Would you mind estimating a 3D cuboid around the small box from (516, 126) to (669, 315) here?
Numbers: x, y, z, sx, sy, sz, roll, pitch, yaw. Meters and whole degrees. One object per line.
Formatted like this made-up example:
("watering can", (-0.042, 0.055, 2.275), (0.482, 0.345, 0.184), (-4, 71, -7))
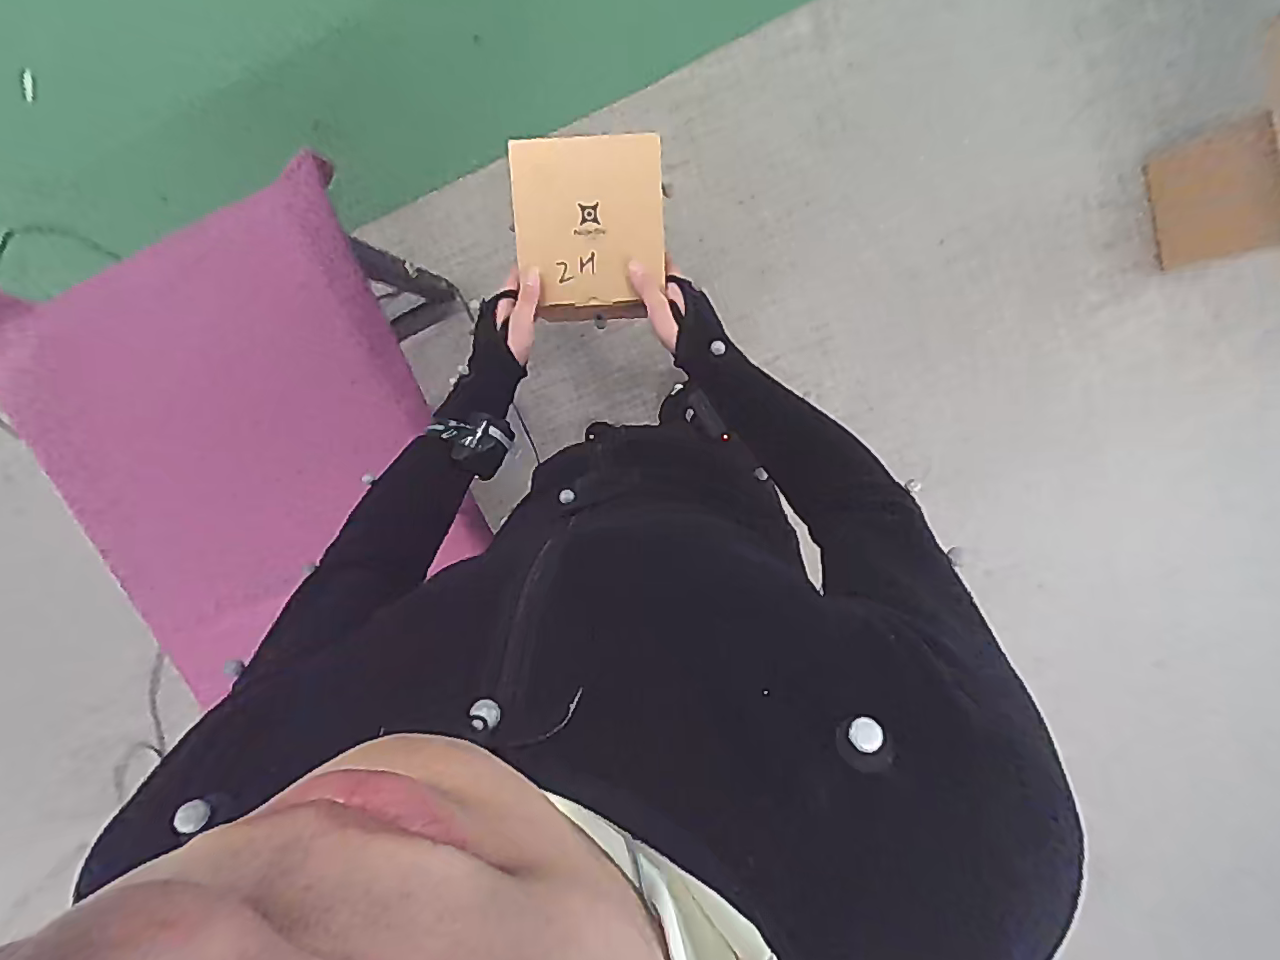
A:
("small box", (-0.051, -0.305, 0.668), (0.168, 0.176, 0.179), (-1, 102, 1))
